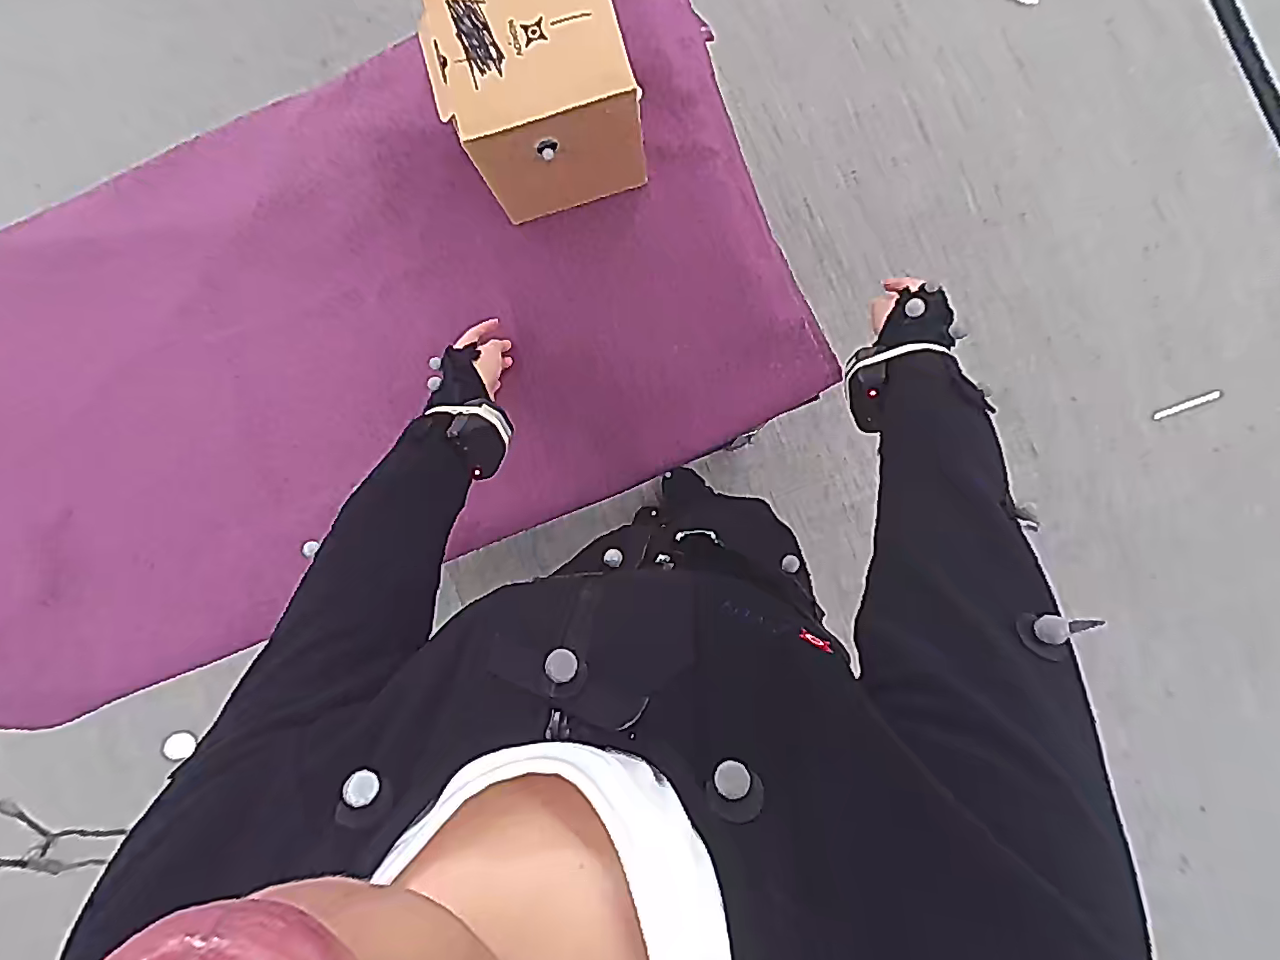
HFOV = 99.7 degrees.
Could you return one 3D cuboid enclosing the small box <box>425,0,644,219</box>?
[{"bbox_3d":[-0.101,-0.419,0.595,0.179,0.176,0.168,-15,89,3],"label":"small box"}]
